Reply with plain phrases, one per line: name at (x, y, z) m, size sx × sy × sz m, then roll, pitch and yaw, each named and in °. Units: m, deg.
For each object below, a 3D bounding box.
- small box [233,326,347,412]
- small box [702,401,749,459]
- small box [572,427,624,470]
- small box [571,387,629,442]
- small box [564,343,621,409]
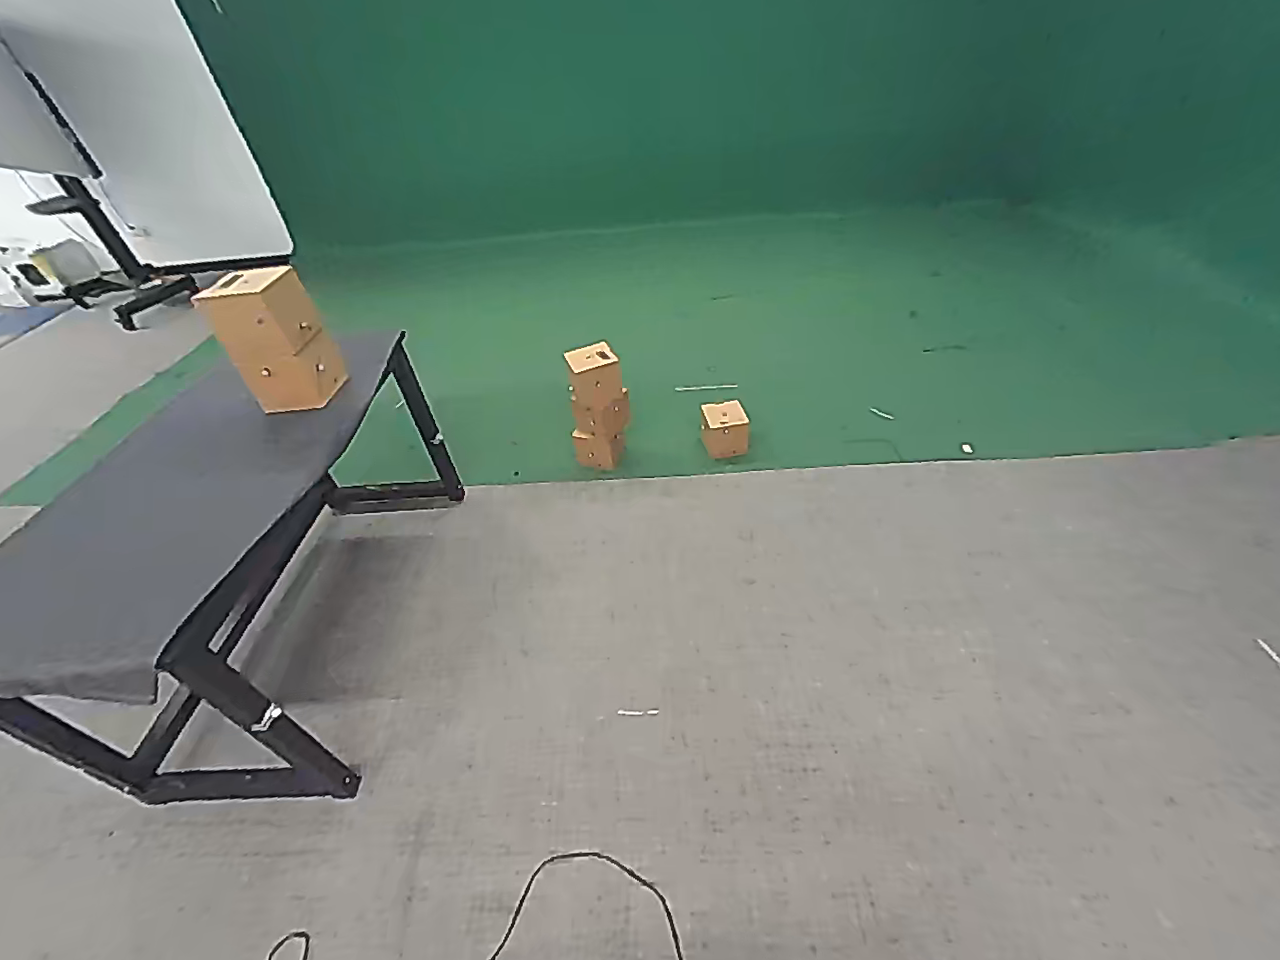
small box at (-0.952, -0.304, 1.492) m, size 0.179 × 0.176 × 0.168 m, roll -4°, pitch 42°, yaw 5°
small box at (0.361, -0.213, 2.312) m, size 0.168 × 0.176 × 0.179 m, roll -9°, pitch 41°, yaw -3°
small box at (-0.173, -0.165, 2.329) m, size 0.168 × 0.176 × 0.179 m, roll 8°, pitch 44°, yaw 16°
small box at (-0.156, -0.283, 2.214) m, size 0.168 × 0.176 × 0.179 m, roll 26°, pitch 51°, yaw 29°
small box at (-0.178, -0.404, 2.104) m, size 0.179 × 0.176 × 0.168 m, roll -19°, pitch 45°, yaw -12°
